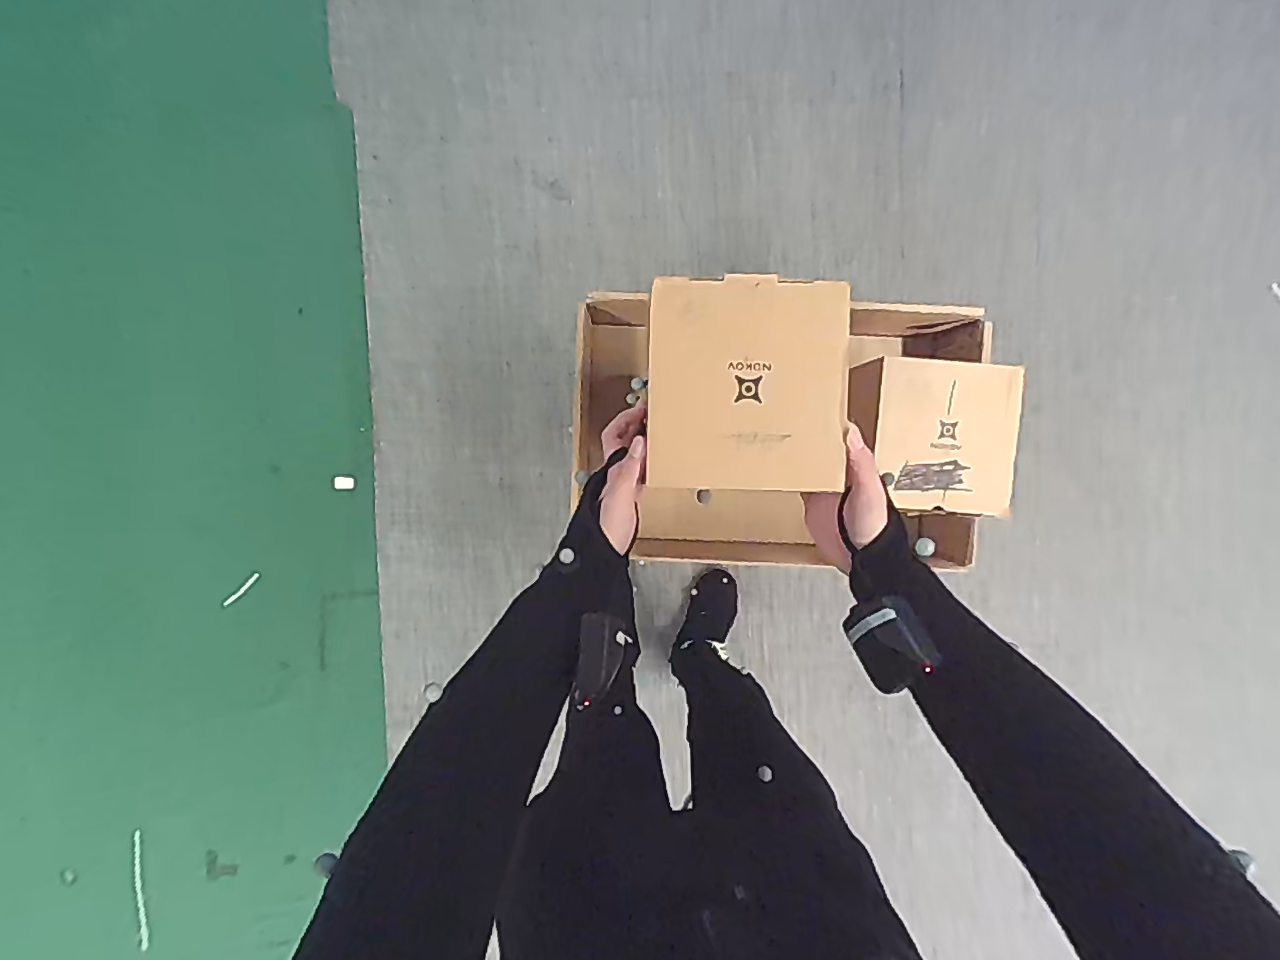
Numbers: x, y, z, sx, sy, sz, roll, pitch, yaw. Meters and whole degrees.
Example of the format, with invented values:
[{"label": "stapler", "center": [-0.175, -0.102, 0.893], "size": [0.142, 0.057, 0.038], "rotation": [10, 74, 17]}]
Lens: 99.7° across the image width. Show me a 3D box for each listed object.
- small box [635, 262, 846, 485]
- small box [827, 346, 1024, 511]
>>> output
[{"label": "small box", "center": [0.081, -0.086, 0.515], "size": [0.168, 0.176, 0.179], "rotation": [2, 91, 0]}, {"label": "small box", "center": [0.340, -0.061, 0.686], "size": [0.168, 0.176, 0.179], "rotation": [4, 92, -1]}]
